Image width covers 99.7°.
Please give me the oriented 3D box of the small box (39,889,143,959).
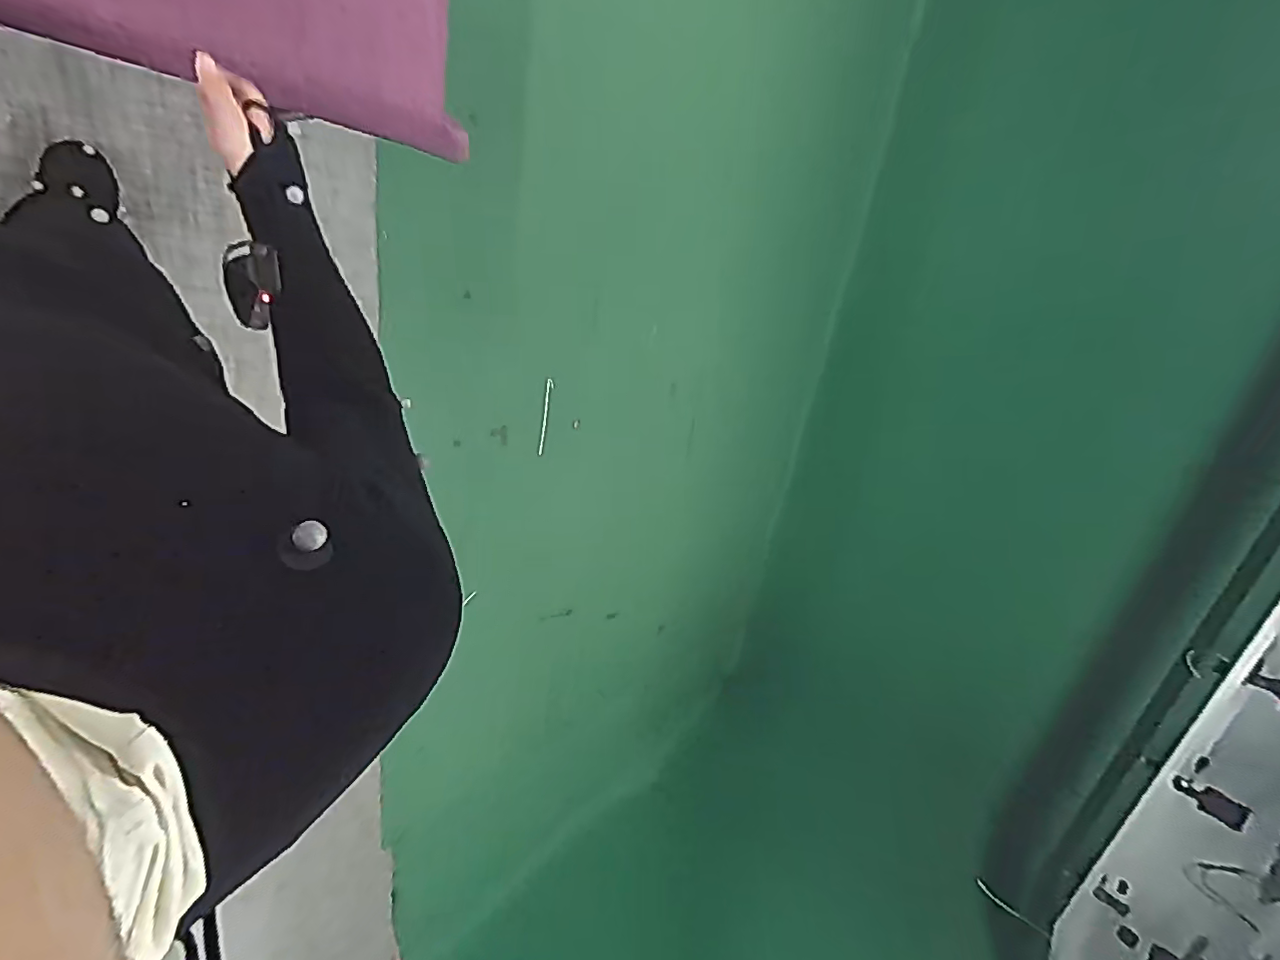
[{"bbox_3d":[-1.331,1.162,1.315,0.168,0.176,0.179,-7,117,-49],"label":"small box"}]
